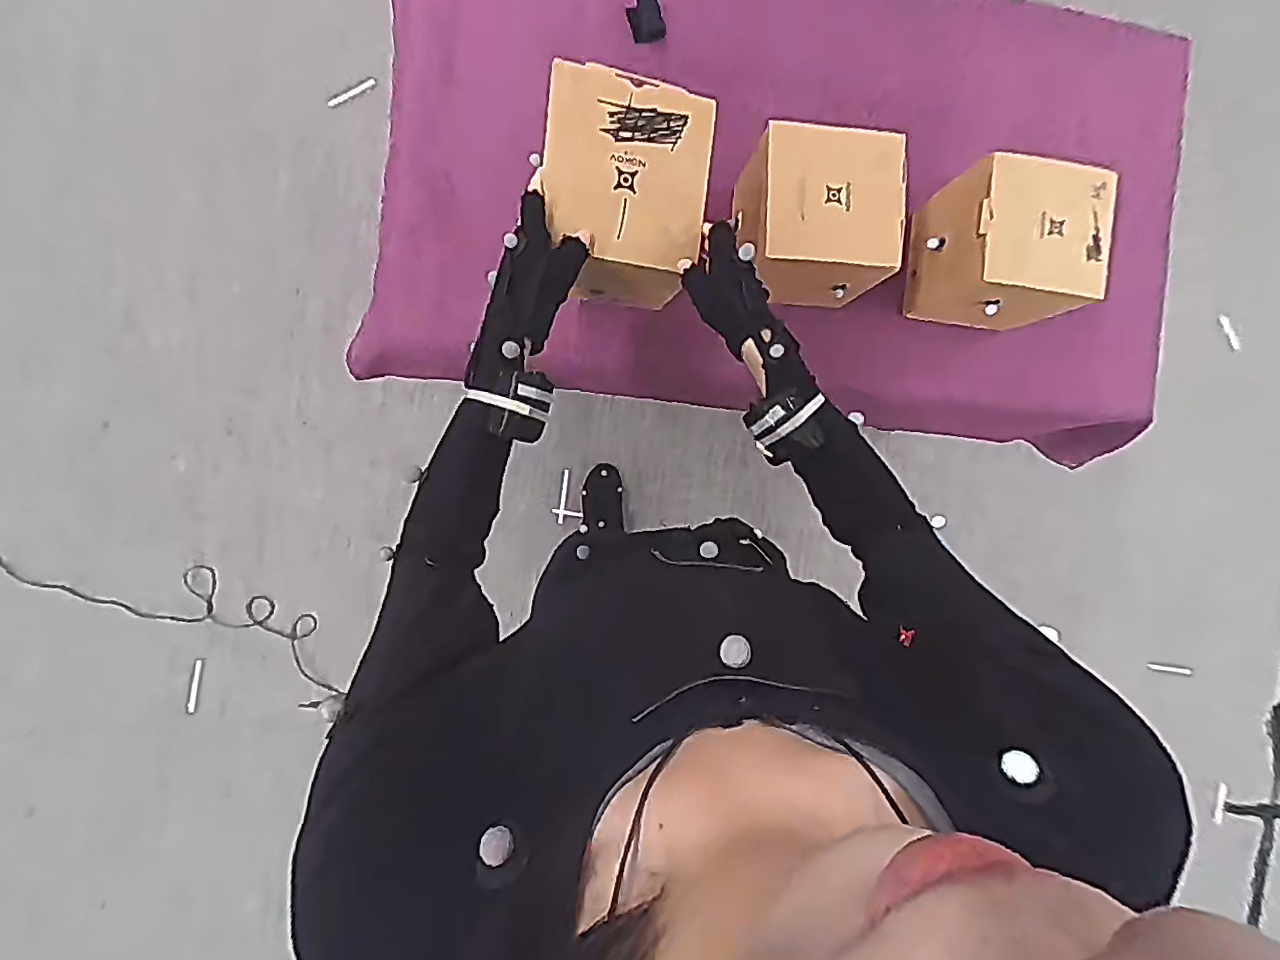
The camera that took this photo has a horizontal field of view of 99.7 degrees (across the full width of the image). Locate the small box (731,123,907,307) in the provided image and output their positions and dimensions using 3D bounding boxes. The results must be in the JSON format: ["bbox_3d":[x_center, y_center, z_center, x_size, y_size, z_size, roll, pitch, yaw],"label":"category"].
[{"bbox_3d":[0.232,-0.343,0.733,0.179,0.176,0.168,1,89,-5],"label":"small box"}]

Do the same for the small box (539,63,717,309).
[{"bbox_3d":[-0.025,-0.312,0.615,0.168,0.176,0.179,5,93,-11],"label":"small box"}]

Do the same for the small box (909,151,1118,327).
[{"bbox_3d":[0.509,-0.324,0.761,0.179,0.176,0.168,5,90,-5],"label":"small box"}]
